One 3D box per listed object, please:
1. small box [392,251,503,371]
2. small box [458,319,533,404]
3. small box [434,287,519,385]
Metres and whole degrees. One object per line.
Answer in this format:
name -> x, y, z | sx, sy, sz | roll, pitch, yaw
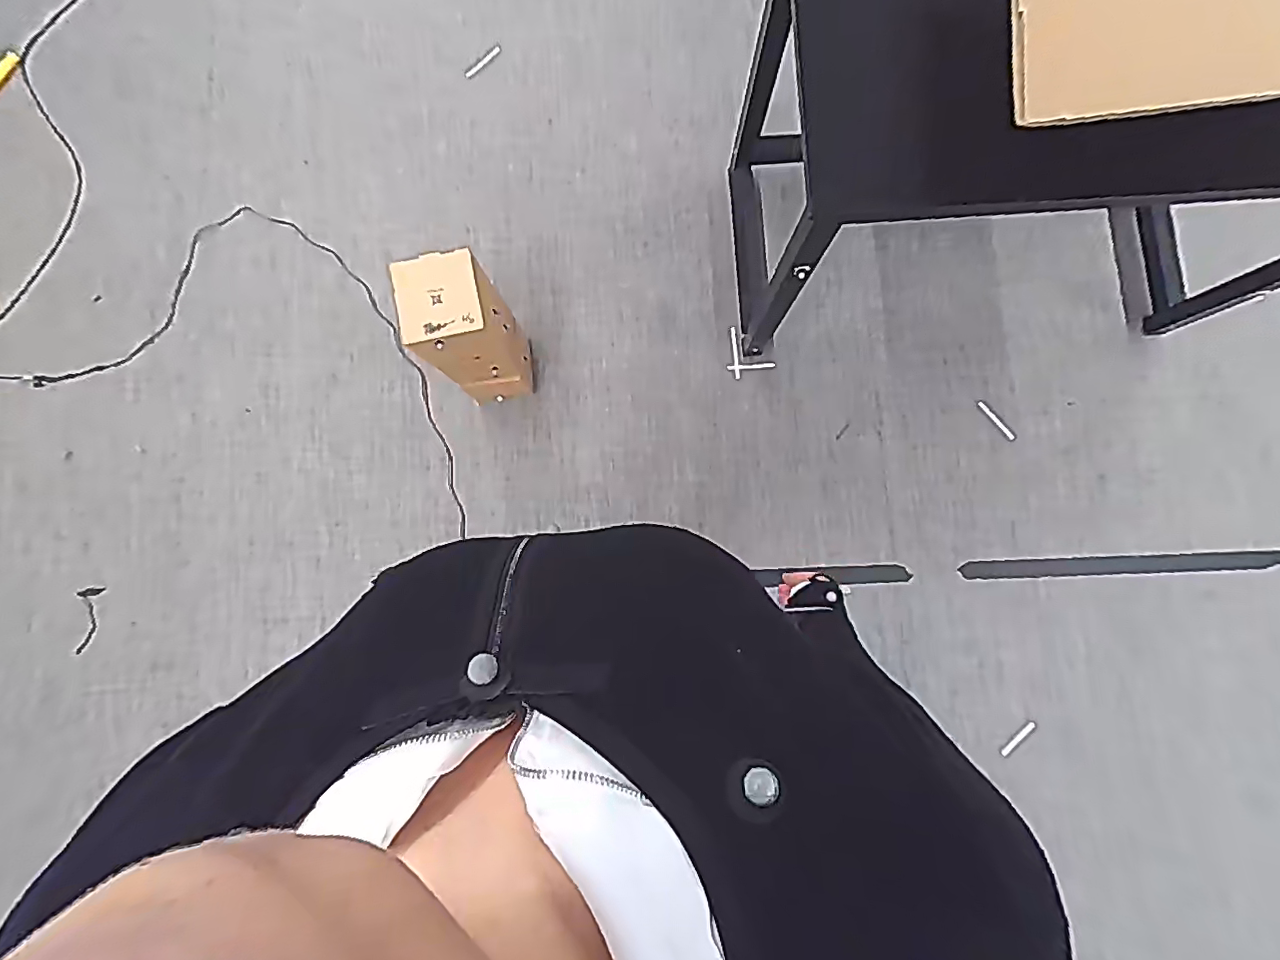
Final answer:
small box -> -0.406, -0.355, 1.161 | 0.168, 0.176, 0.179 | -12, 83, 0
small box -> -0.398, -0.320, 1.485 | 0.168, 0.176, 0.179 | -7, 85, 1
small box -> -0.404, -0.343, 1.325 | 0.168, 0.176, 0.179 | -10, 83, -1
